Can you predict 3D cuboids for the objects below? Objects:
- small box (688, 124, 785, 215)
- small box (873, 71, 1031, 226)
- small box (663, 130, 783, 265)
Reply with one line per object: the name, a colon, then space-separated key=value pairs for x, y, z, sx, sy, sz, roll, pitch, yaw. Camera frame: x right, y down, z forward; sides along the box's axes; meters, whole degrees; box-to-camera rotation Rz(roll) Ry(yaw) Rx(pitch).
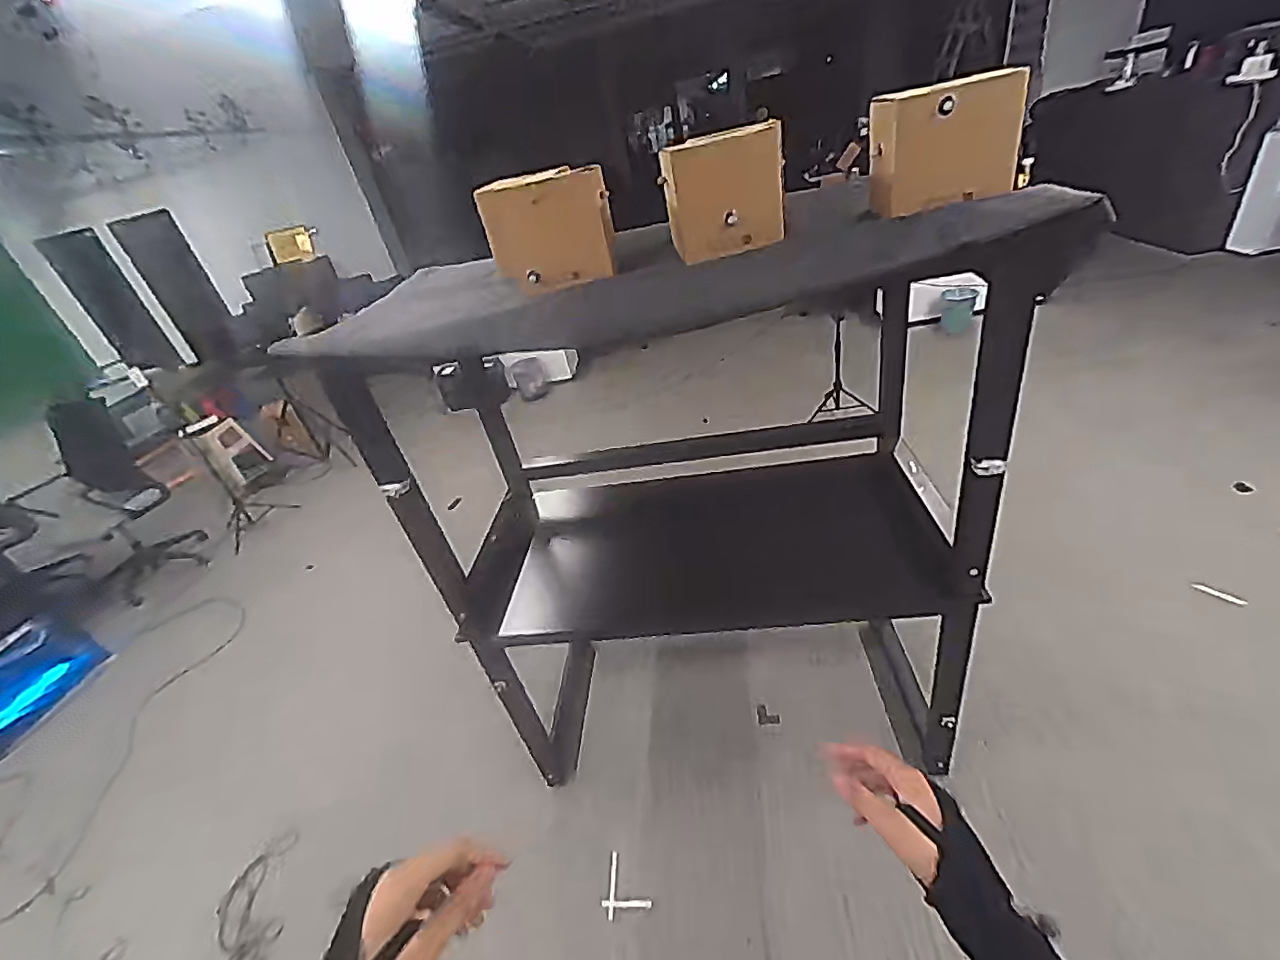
small box: x=0.196 y=-0.600 z=1.088 sx=0.179 sy=0.176 sz=0.168 roll=-6 pitch=32 yaw=11
small box: x=0.464 y=-0.505 z=0.838 sx=0.168 sy=0.176 sz=0.179 roll=-6 pitch=32 yaw=13
small box: x=0.138 y=-0.476 z=0.915 sx=0.168 sy=0.176 sz=0.179 roll=-12 pitch=32 yaw=3
